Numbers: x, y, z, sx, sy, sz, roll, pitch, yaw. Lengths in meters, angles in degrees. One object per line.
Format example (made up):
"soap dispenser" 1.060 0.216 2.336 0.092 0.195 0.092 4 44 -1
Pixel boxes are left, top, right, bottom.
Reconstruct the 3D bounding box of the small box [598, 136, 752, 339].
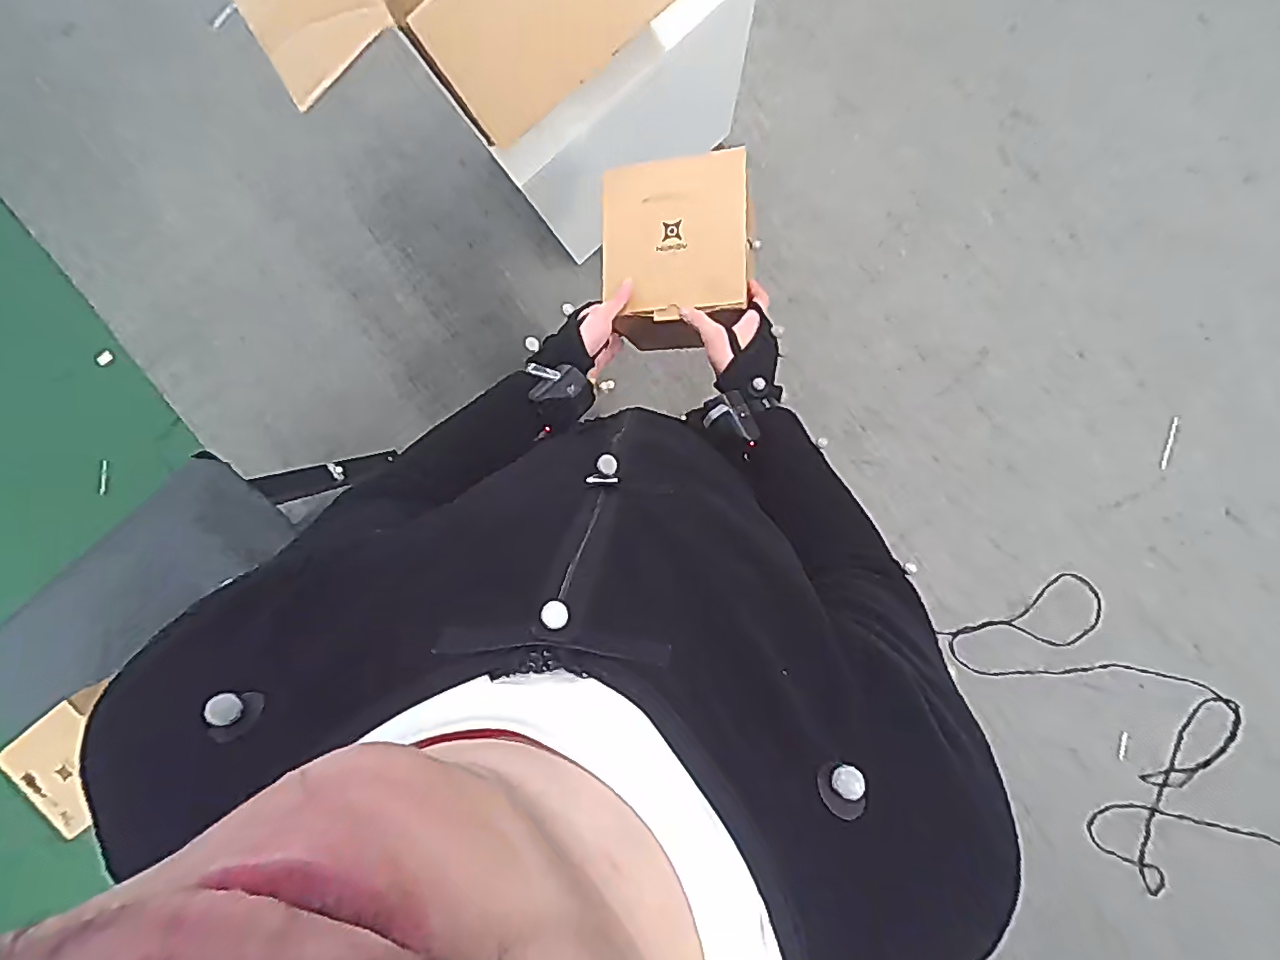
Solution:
"small box" 0.051 -0.280 0.671 0.168 0.176 0.179 0 88 14

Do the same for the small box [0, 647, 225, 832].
"small box" -0.828 0.404 0.873 0.179 0.176 0.168 -36 95 7
